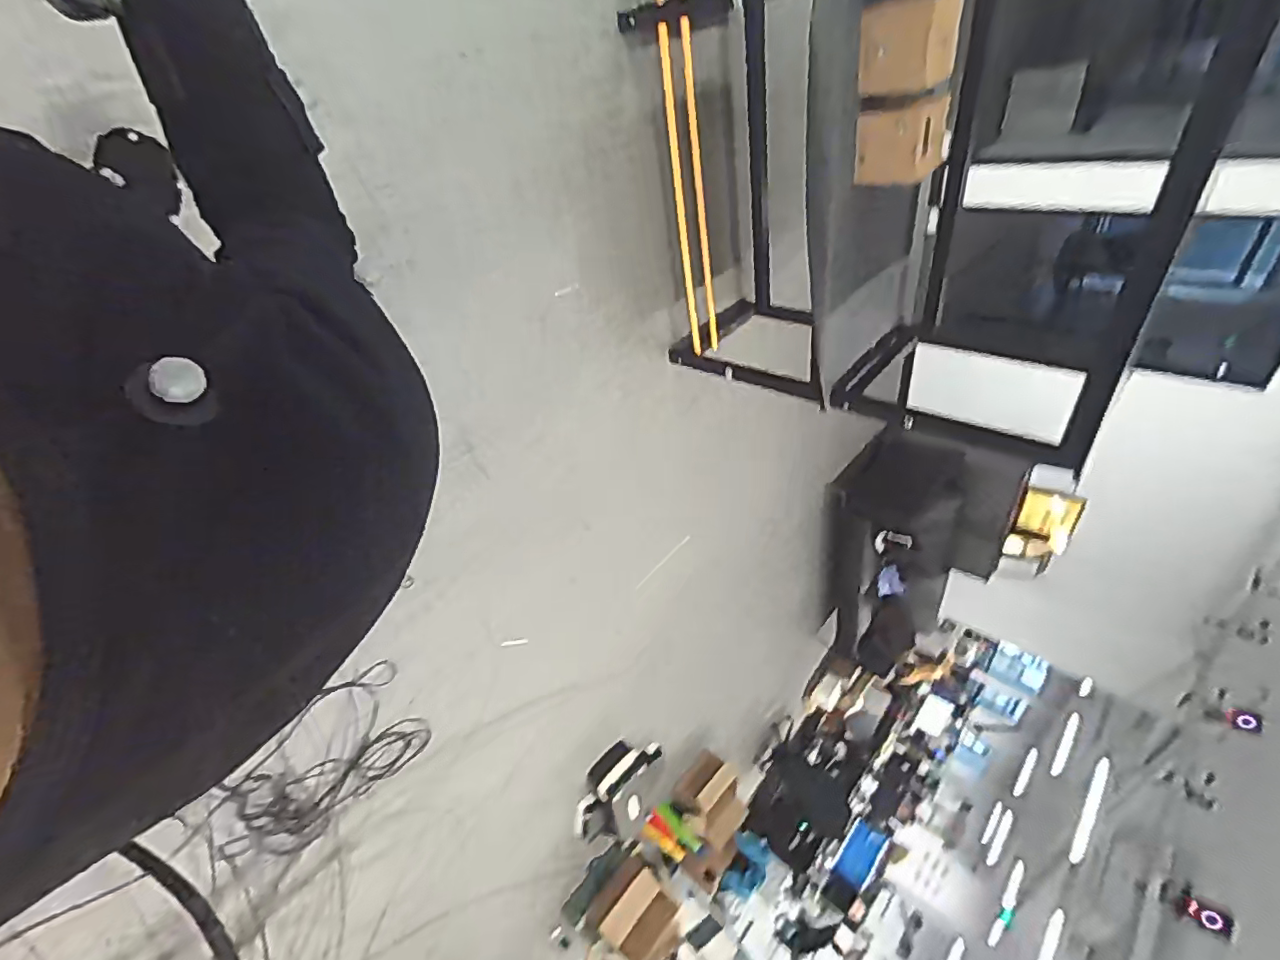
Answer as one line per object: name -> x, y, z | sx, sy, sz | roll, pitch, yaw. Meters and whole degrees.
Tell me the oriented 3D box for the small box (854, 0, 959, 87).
small box -> 0.644, -1.074, 1.311 | 0.179, 0.176, 0.168 | -41, 138, -28
